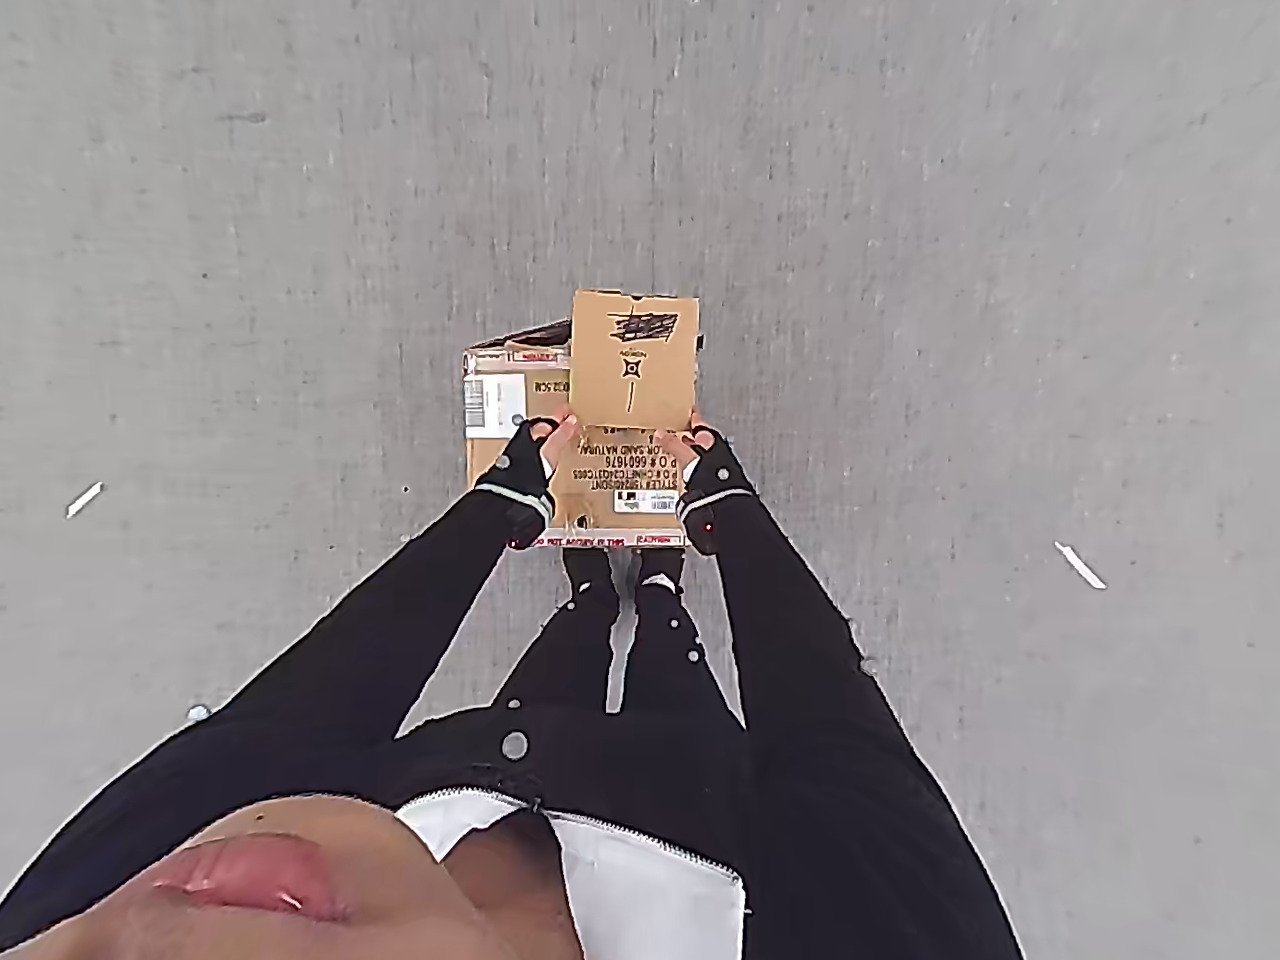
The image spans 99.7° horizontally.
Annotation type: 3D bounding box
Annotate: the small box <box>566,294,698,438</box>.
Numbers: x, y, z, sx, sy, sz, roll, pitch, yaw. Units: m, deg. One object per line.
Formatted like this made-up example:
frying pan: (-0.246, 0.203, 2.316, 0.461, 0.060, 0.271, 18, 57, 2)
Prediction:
small box: (-0.017, -0.154, 0.783, 0.168, 0.176, 0.179, 3, 95, -4)
